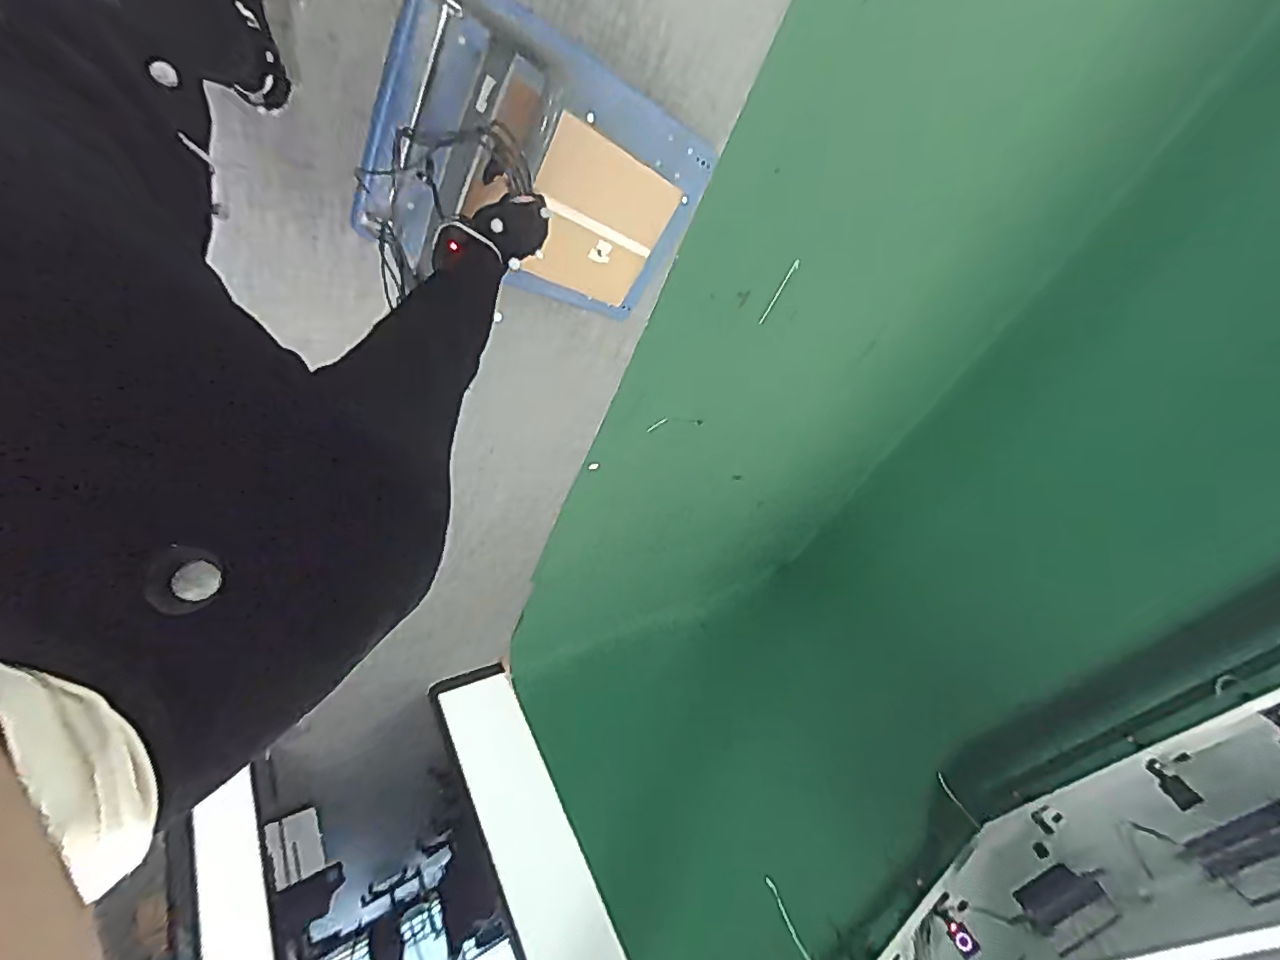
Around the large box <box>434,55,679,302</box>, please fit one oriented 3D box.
[{"bbox_3d":[-0.198,-0.673,1.254,0.408,0.320,0.320,3,132,-47],"label":"large box"}]
